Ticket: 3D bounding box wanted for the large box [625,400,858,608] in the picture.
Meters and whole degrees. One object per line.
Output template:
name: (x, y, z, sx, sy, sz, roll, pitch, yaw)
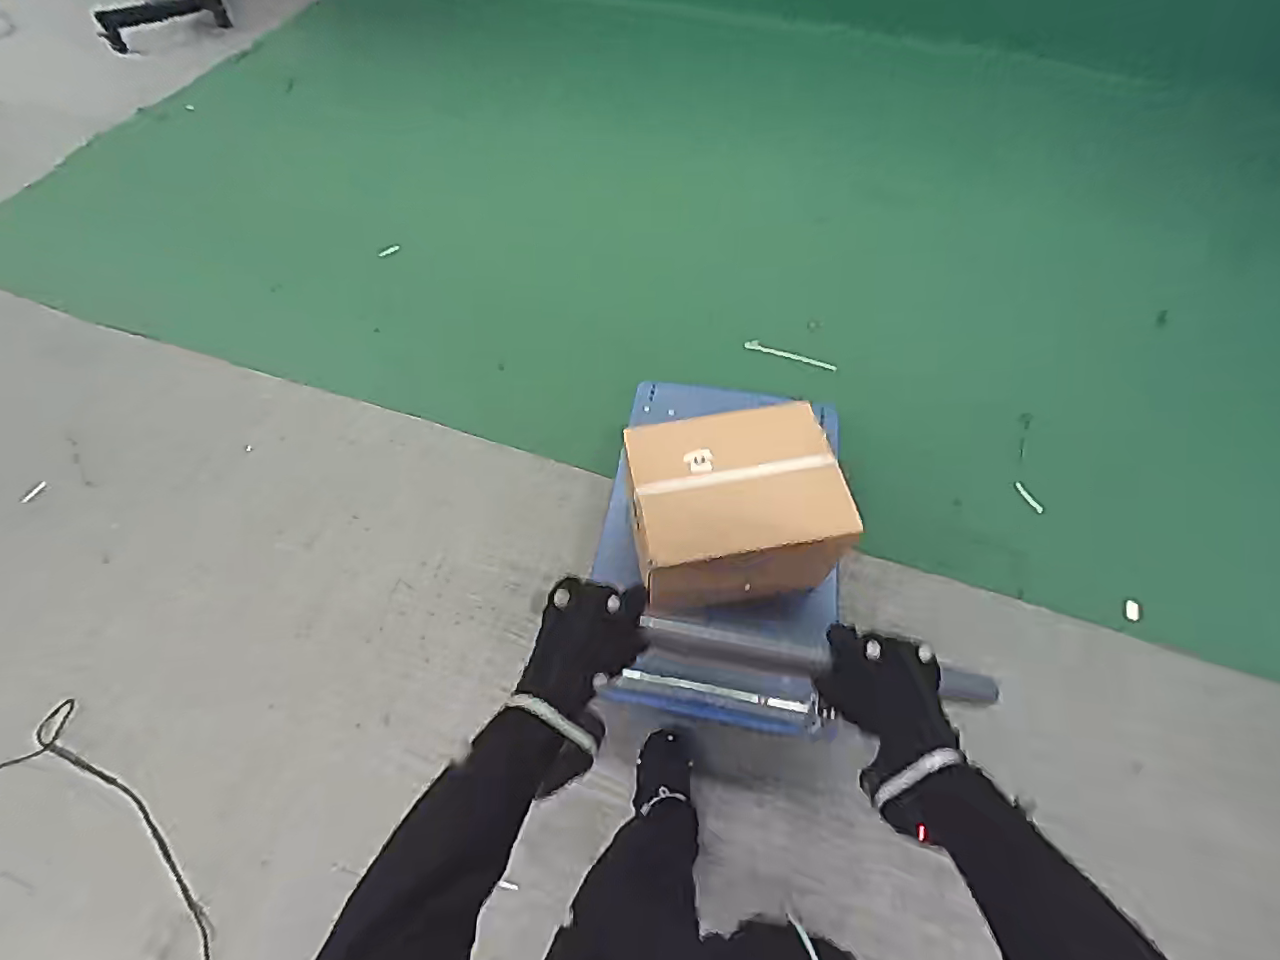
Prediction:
large box: (0.194, 0.064, 1.197, 0.408, 0.320, 0.320, -9, 60, -4)
